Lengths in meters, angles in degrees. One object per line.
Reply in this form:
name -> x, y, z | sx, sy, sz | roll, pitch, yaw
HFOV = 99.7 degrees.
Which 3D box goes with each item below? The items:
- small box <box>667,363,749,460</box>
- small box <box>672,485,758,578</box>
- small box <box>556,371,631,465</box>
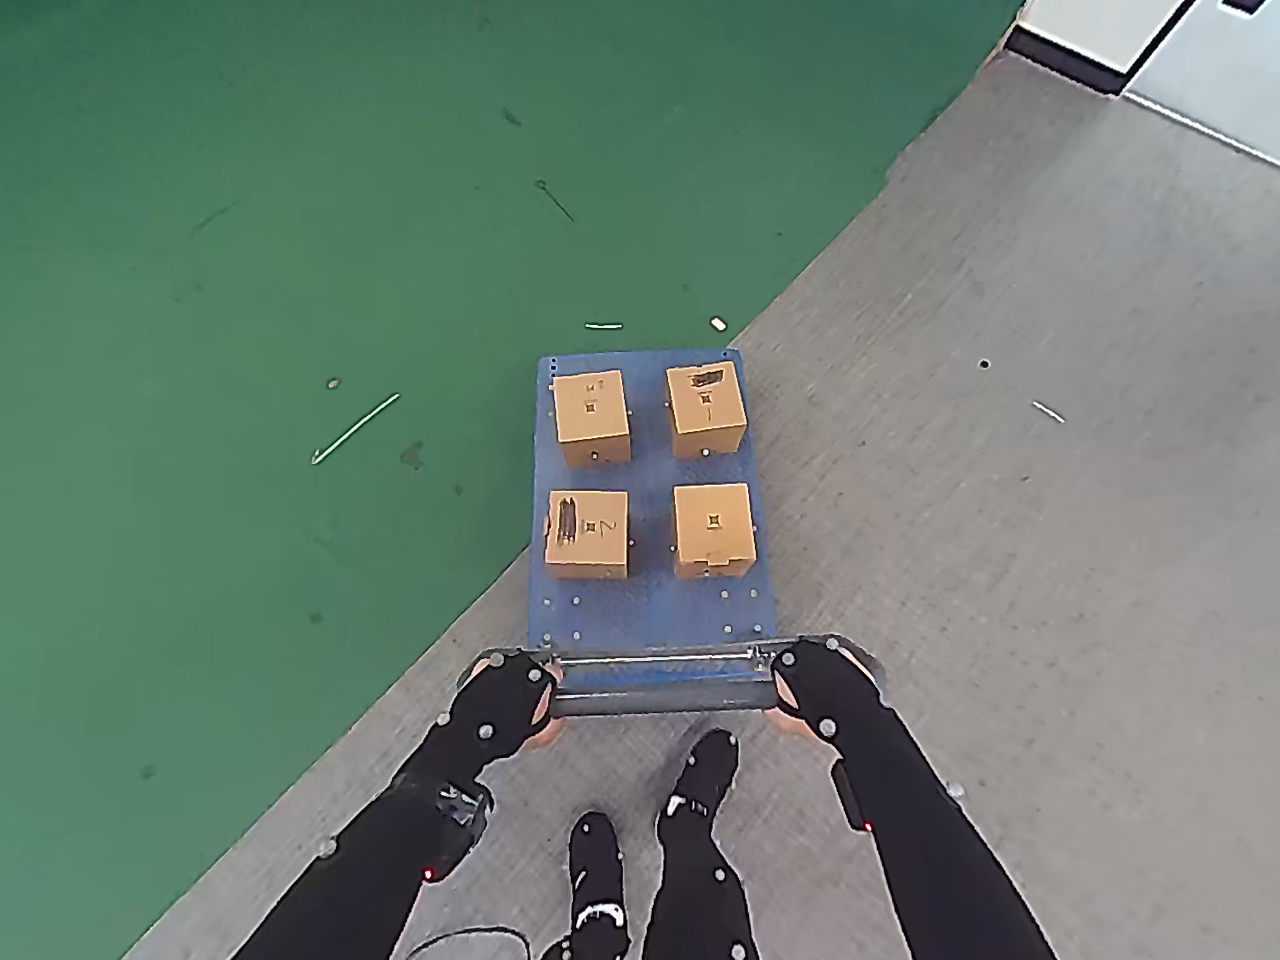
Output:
small box -> 0.161, -0.166, 1.351 | 0.168, 0.176, 0.179 | -7, 71, -2
small box -> 0.165, 0.122, 1.246 | 0.168, 0.176, 0.179 | -3, 70, -1
small box -> -0.112, -0.146, 1.342 | 0.168, 0.176, 0.179 | -6, 70, -3
